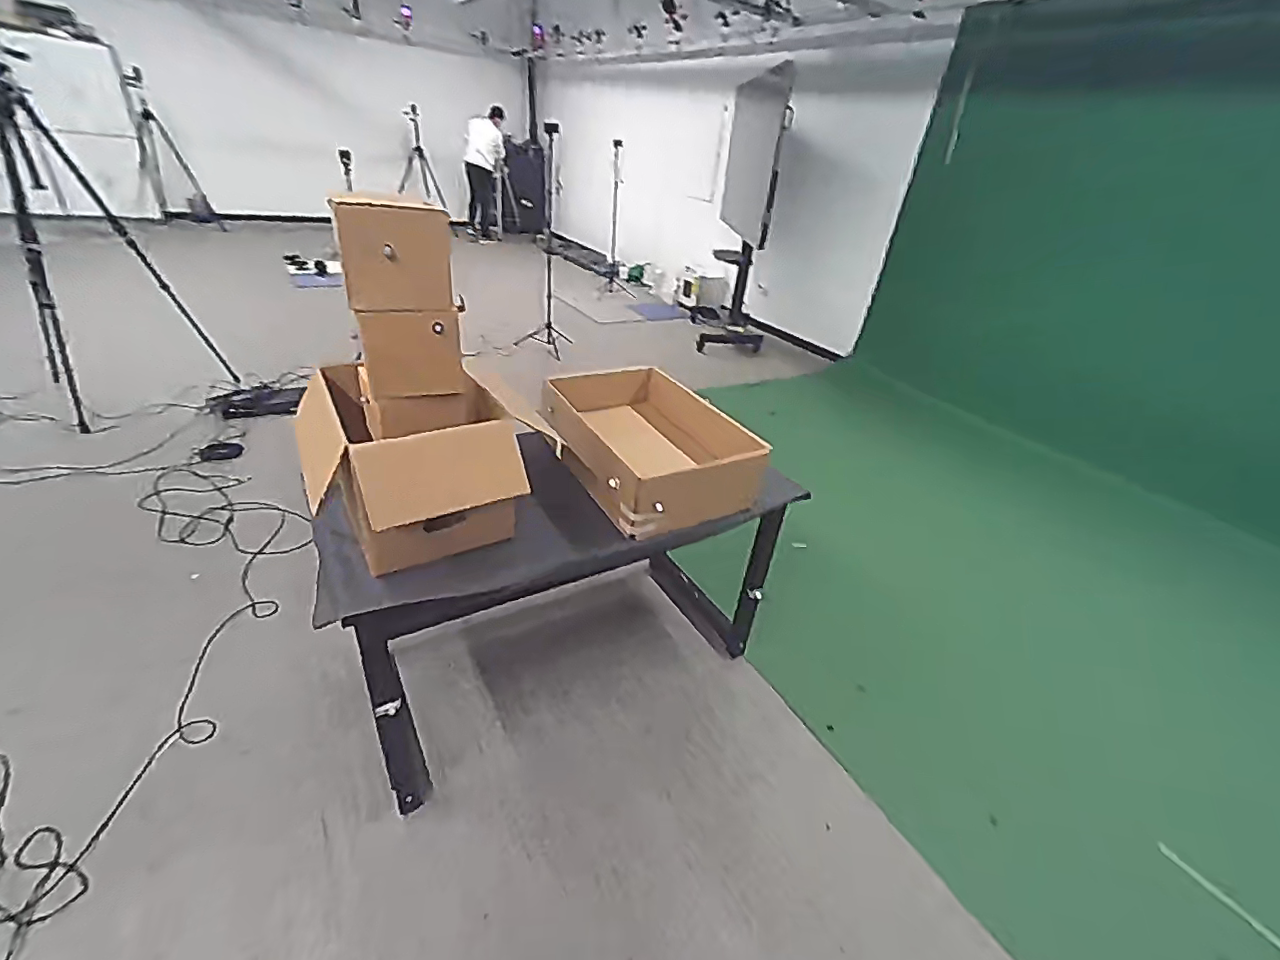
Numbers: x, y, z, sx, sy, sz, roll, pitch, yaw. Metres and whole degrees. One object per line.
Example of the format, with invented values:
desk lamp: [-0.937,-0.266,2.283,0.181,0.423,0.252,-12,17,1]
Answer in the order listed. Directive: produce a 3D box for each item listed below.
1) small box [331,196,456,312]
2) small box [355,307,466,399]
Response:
small box: [-0.442,-0.406,0.976,0.179,0.176,0.168,-10,36,-26]
small box: [-0.450,-0.266,1.061,0.179,0.176,0.168,-9,35,-25]
